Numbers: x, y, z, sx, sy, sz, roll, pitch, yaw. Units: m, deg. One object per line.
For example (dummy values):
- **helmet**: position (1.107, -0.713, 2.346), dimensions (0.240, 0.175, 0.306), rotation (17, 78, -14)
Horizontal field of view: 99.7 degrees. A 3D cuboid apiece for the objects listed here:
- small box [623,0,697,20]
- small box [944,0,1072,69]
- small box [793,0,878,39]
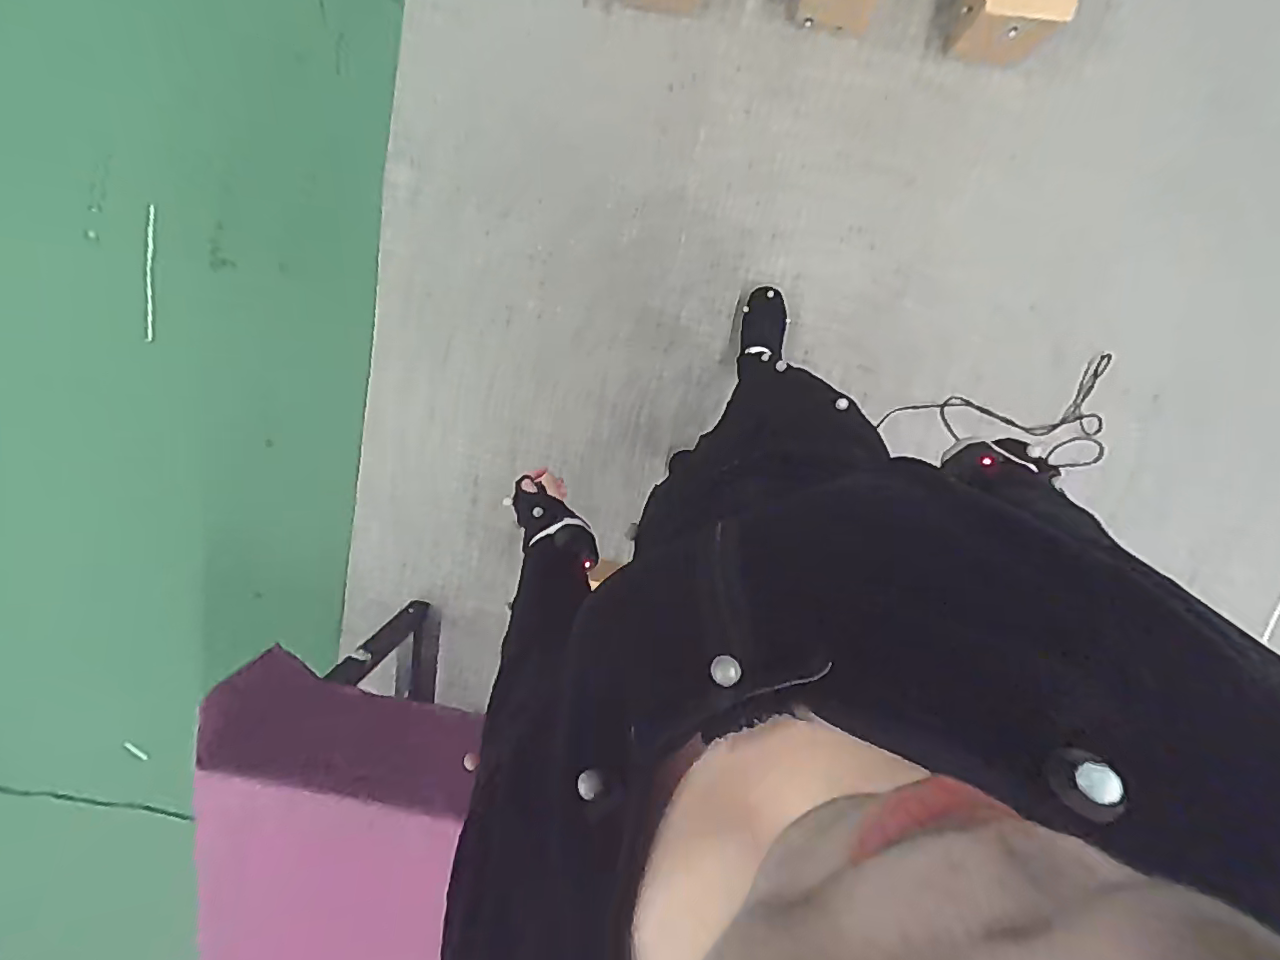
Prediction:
- **small box**: position (0.053, -1.155, 1.179), dimensions (0.179, 0.176, 0.168), rotation (11, 102, 3)
- **small box**: position (0.780, -1.008, 1.141), dimensions (0.179, 0.176, 0.168), rotation (10, 103, 3)
- **small box**: position (0.437, -1.095, 1.155), dimensions (0.168, 0.176, 0.179), rotation (12, 102, 3)
